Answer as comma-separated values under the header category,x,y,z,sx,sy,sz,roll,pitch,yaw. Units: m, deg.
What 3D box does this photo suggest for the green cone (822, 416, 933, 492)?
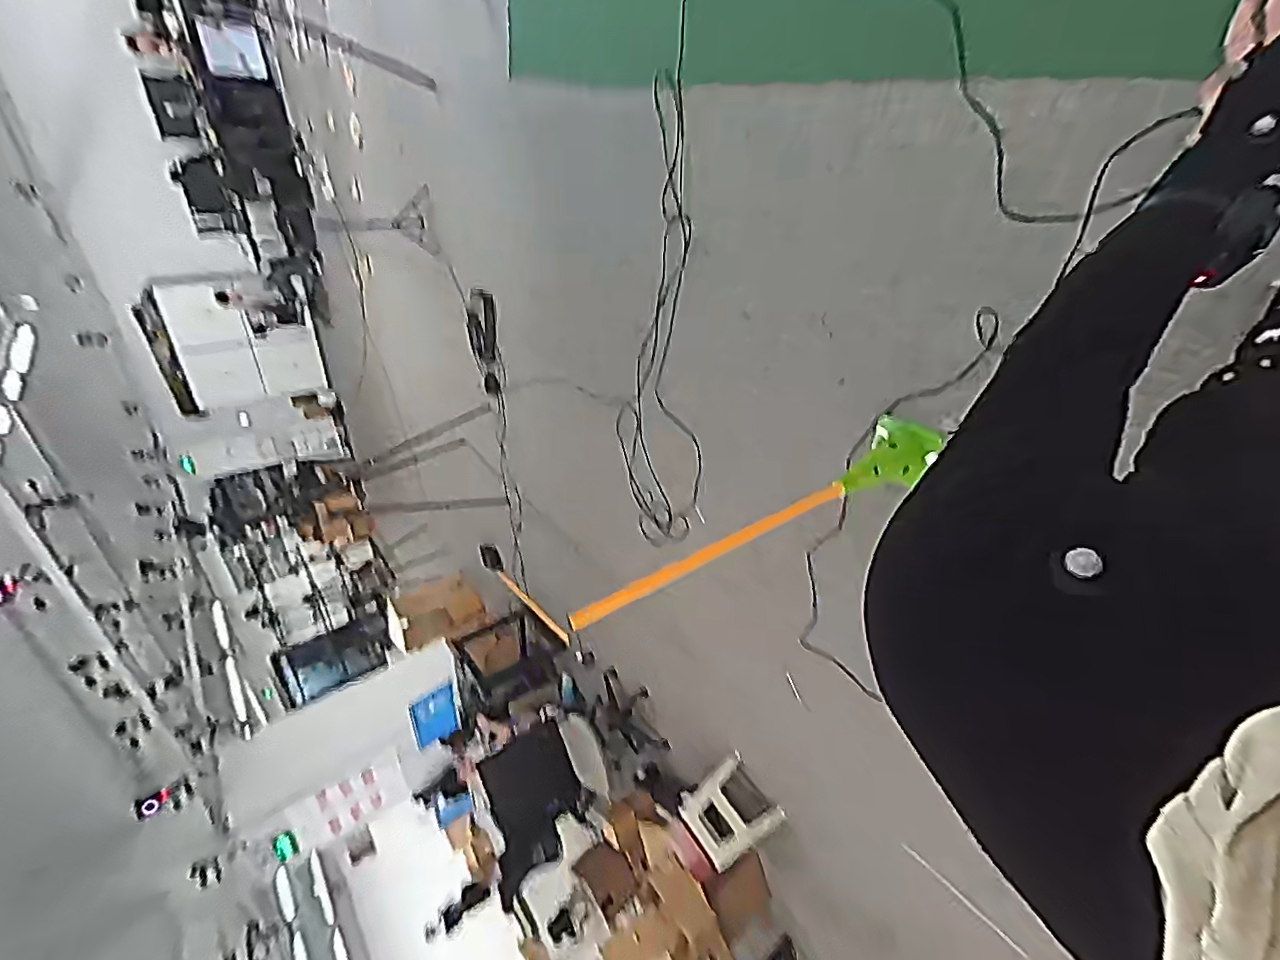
category,x,y,z,sx,sy,sz,roll,pitch,yaw
green cone,0.669,-0.036,1.606,0.202,0.368,0.200,33,132,42
